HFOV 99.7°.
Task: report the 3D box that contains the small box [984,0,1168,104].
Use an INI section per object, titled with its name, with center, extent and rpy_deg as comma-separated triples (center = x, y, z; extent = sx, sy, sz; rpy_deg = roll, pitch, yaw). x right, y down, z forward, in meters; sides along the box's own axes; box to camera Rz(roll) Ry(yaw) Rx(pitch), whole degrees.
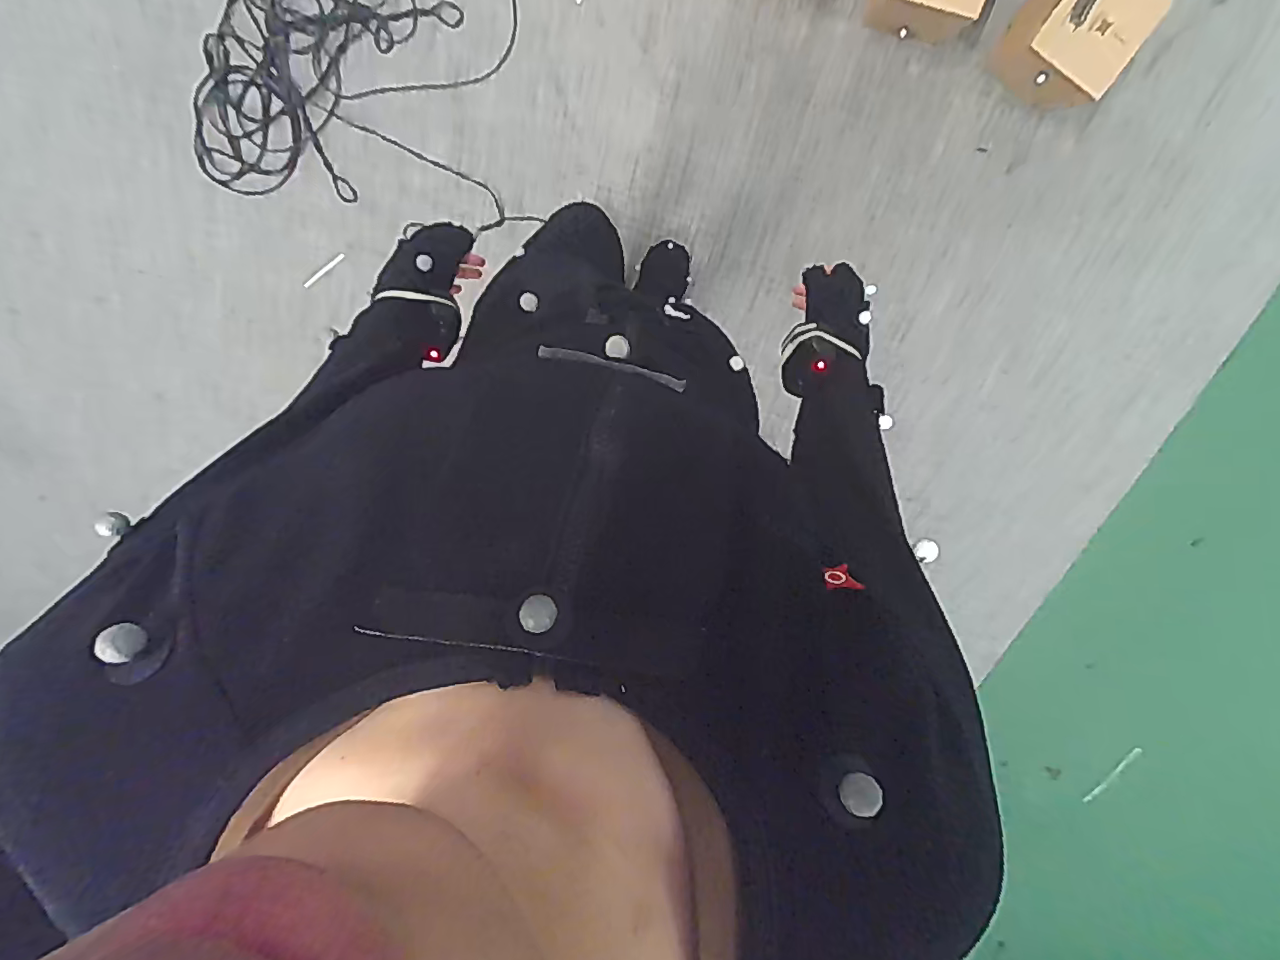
[small box]
center = 0.802, -0.844, 1.015
extent = 0.179, 0.176, 0.168
rpy_deg = 27, 115, -11
